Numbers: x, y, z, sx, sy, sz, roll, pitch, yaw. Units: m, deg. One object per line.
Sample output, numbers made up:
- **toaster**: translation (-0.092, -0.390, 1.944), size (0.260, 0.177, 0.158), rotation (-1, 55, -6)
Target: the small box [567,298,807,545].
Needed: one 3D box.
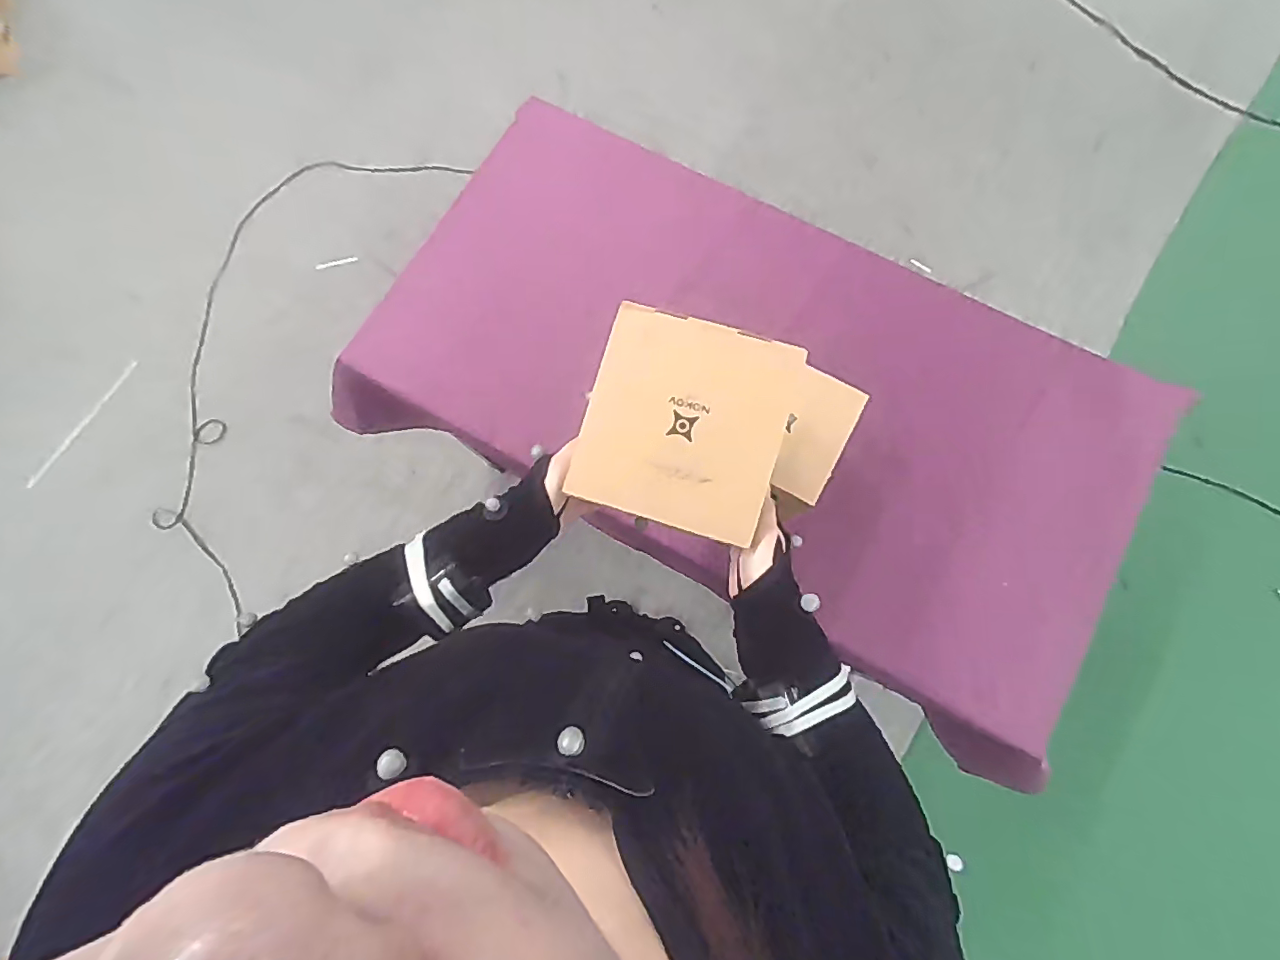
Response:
- **small box**: translation (0.045, -0.048, 0.536), size (0.168, 0.176, 0.179), rotation (17, 89, 6)

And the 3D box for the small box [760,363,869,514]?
- **small box**: translation (0.181, -0.065, 0.765), size (0.179, 0.176, 0.168), rotation (29, 80, 8)
